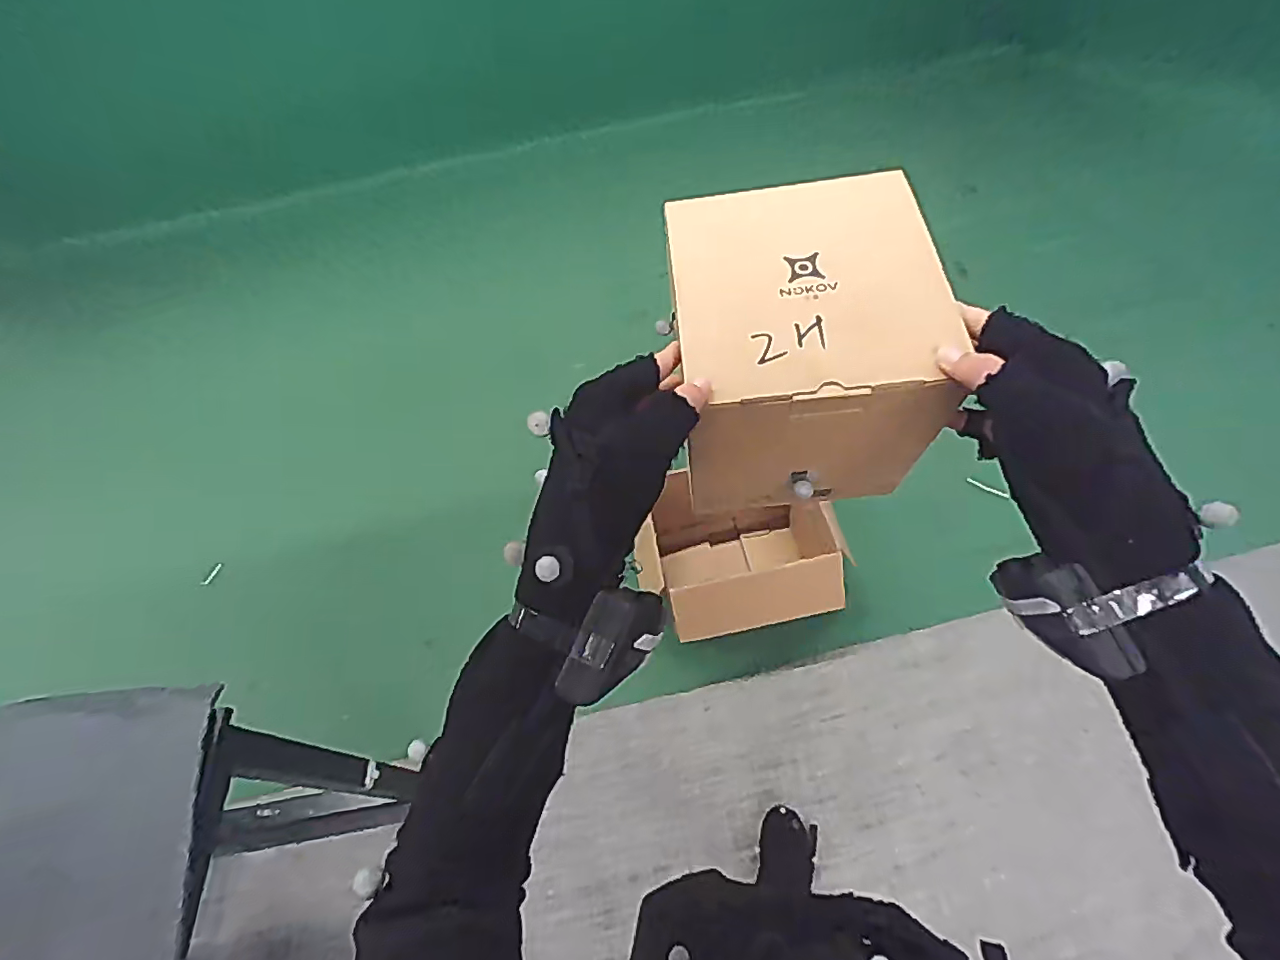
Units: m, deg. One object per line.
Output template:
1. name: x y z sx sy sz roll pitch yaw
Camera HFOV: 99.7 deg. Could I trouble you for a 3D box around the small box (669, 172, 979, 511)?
1. small box: 0.112 -0.093 0.411 0.168 0.176 0.179 -6 64 5
